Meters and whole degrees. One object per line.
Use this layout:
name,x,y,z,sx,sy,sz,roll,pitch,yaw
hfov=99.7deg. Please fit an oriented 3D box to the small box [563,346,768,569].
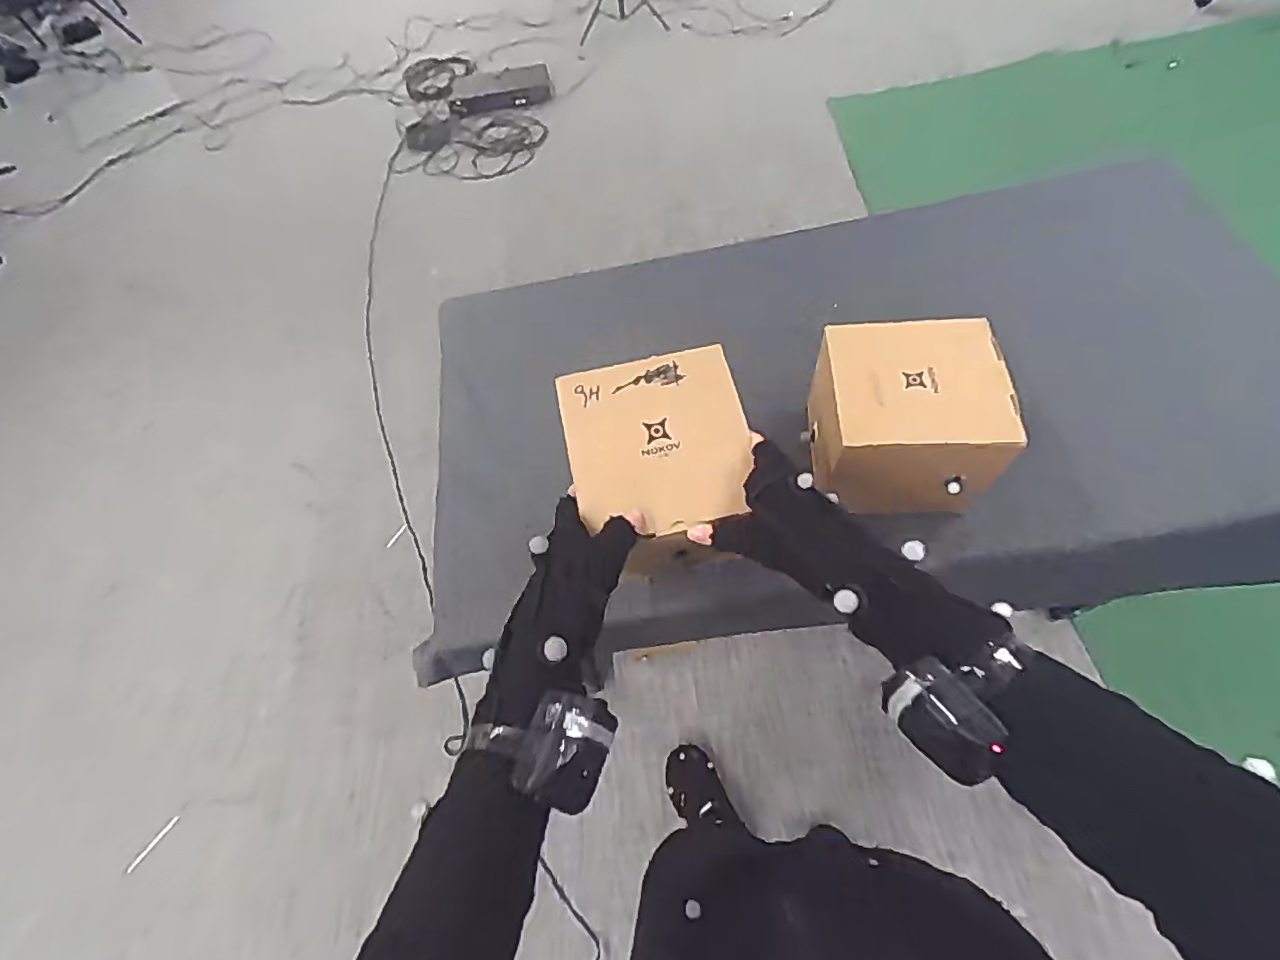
small box,0.024,-0.010,0.573,0.168,0.176,0.179,-11,70,-1

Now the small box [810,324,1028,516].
small box,0.310,-0.064,0.646,0.179,0.176,0.168,-1,62,9
